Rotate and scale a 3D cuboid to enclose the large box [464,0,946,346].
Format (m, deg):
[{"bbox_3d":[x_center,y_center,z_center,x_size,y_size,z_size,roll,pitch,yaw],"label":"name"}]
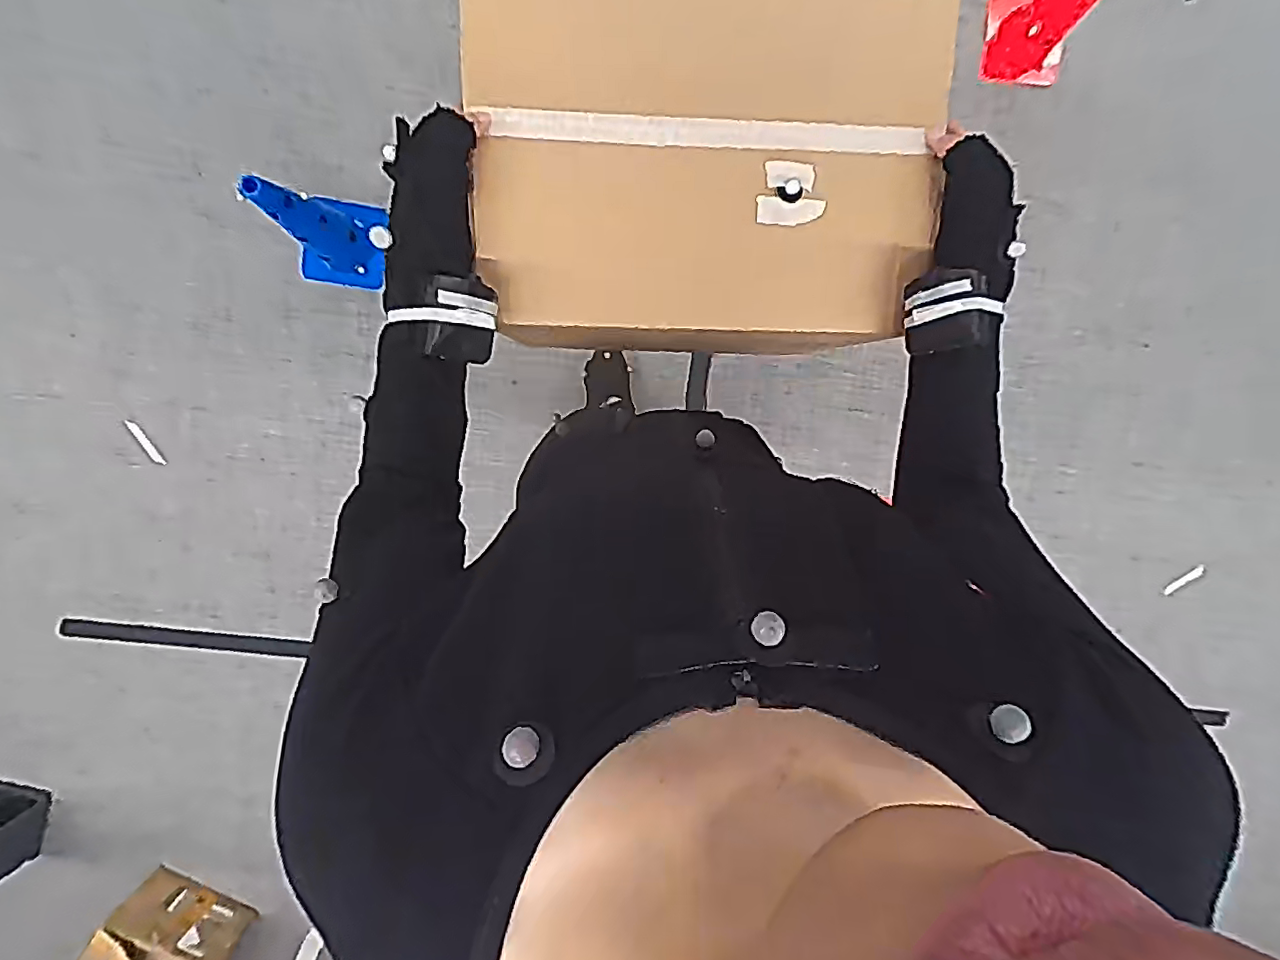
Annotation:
[{"bbox_3d":[0.045,-0.320,0.601,0.408,0.320,0.320,0,100,-5],"label":"large box"}]

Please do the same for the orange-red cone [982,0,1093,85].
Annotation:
[{"bbox_3d":[0.971,-1.090,1.188,0.198,0.360,0.199,4,96,-4],"label":"orange-red cone"}]

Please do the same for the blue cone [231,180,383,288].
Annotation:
[{"bbox_3d":[-0.739,-0.564,1.190,0.192,0.380,0.193,10,97,-3],"label":"blue cone"}]
